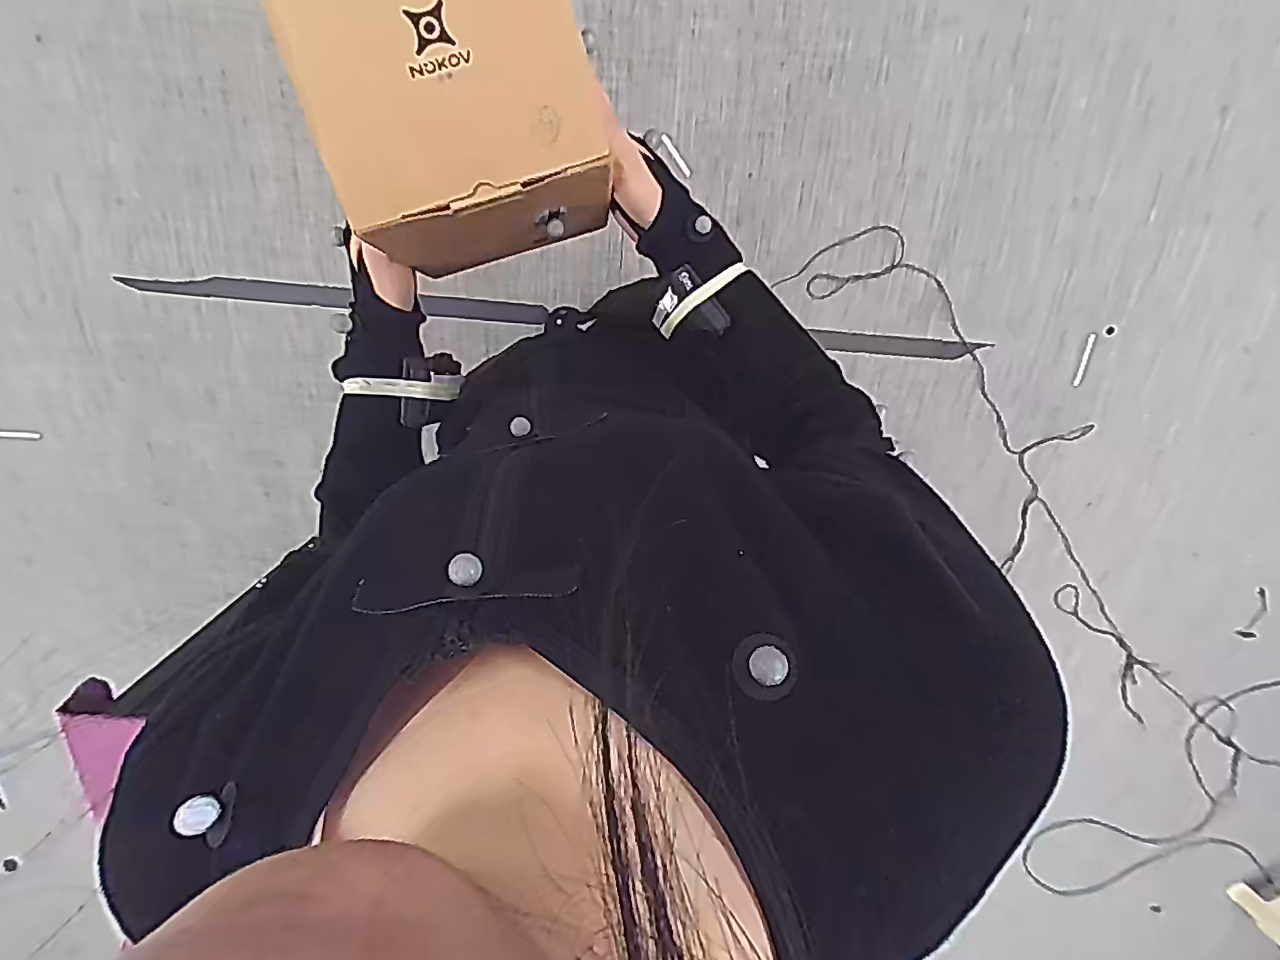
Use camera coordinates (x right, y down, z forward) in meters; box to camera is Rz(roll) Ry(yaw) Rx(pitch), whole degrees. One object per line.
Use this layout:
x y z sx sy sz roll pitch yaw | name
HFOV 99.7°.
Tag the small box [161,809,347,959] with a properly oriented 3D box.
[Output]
-0.606 0.664 0.873 0.179 0.176 0.168 5 110 -4 | small box
